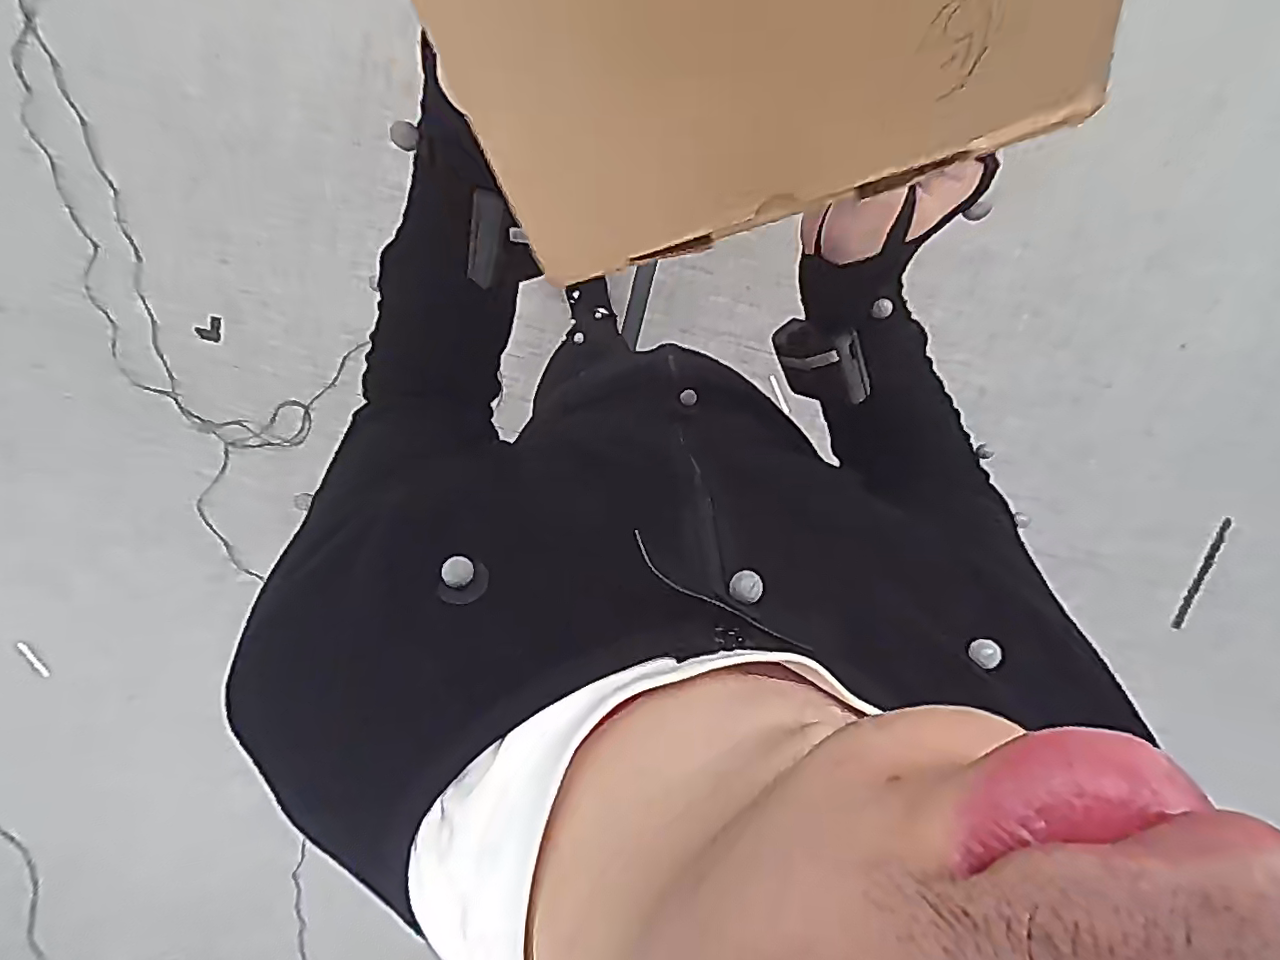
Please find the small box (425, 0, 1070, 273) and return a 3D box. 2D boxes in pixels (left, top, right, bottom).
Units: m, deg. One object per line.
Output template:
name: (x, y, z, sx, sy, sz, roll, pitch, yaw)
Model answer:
small box: (0.027, -0.208, 0.187, 0.168, 0.176, 0.179, -10, 129, 23)
